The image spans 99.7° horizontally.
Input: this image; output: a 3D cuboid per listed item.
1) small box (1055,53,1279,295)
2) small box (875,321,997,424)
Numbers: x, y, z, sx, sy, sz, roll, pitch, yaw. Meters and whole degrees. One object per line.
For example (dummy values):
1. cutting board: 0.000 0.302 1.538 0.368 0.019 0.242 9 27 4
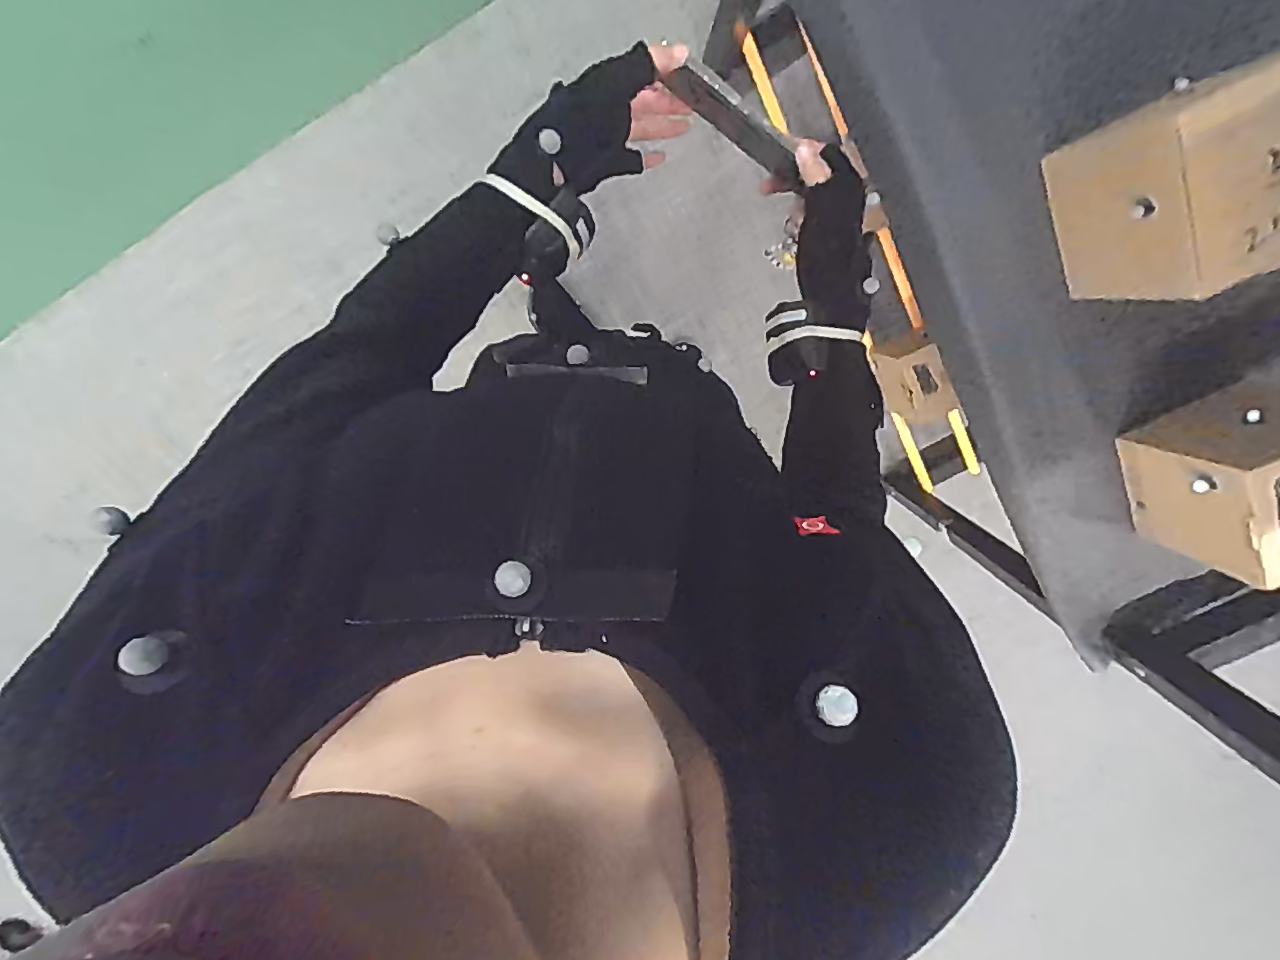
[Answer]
1. small box: 0.577 -0.306 0.557 0.168 0.176 0.179 -25 107 7
2. small box: 0.663 -0.250 1.237 0.179 0.176 0.168 -25 108 7
